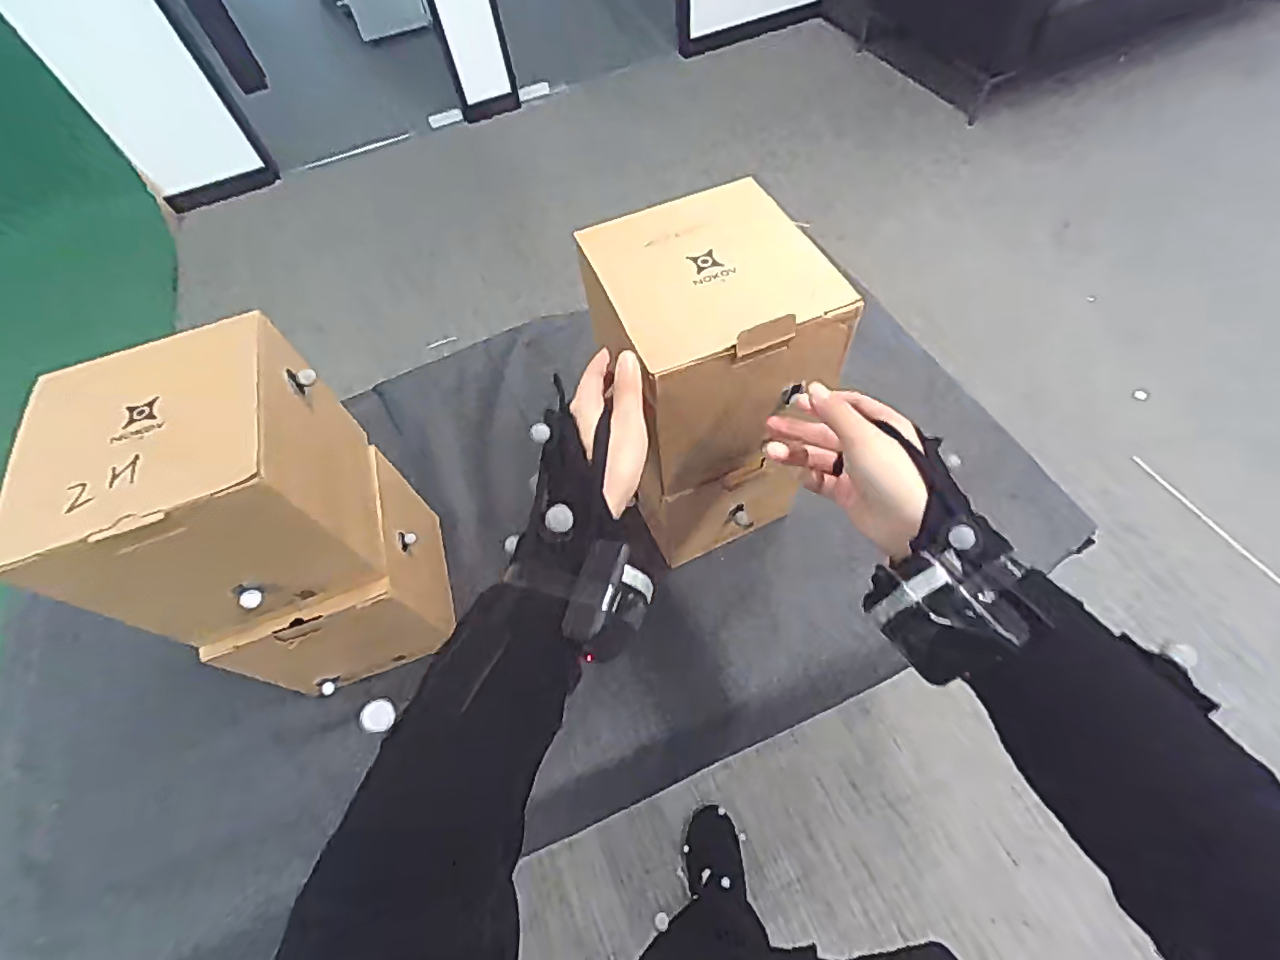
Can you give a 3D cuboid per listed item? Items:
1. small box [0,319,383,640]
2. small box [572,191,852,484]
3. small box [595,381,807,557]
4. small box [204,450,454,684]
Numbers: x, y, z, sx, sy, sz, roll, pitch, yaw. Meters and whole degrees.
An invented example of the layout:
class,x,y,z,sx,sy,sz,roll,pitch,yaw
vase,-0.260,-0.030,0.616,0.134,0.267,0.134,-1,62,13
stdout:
class,x,y,z,sx,sy,sz,roll,pitch,yaw
small box,-0.338,0.005,0.449,0.168,0.176,0.179,-21,58,-7
small box,0.055,-0.117,0.487,0.168,0.176,0.179,-21,58,-8
small box,0.065,-0.030,0.625,0.168,0.176,0.179,-24,59,-9
small box,-0.316,0.103,0.581,0.168,0.176,0.179,-19,57,-6
